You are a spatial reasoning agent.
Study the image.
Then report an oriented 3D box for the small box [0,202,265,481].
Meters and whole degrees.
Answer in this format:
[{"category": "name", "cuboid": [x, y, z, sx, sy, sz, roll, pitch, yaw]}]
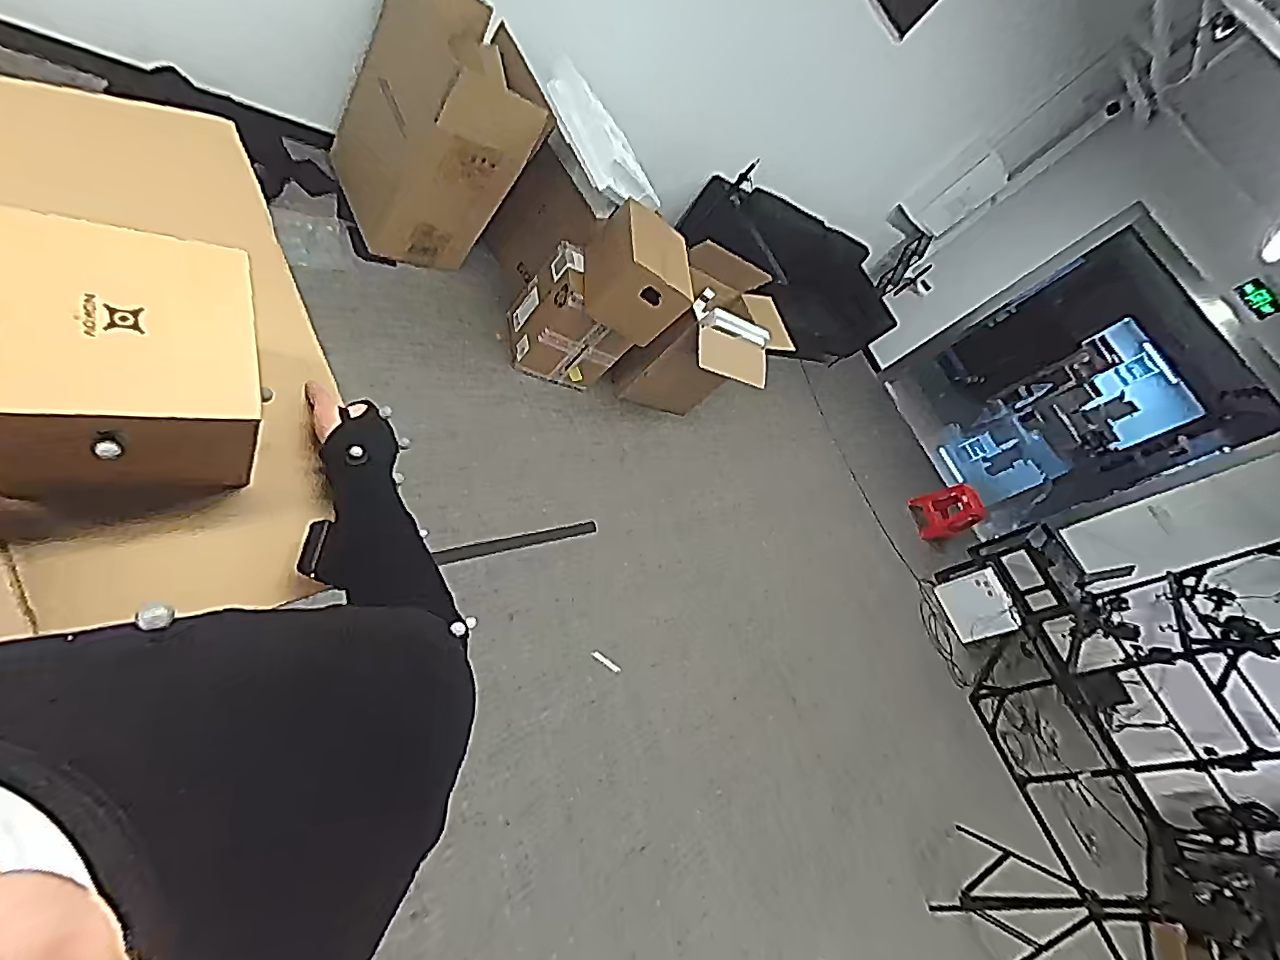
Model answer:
[{"category": "small box", "cuboid": [-0.450, -0.103, 0.479, 0.179, 0.176, 0.168, -3, 74, -39]}]
